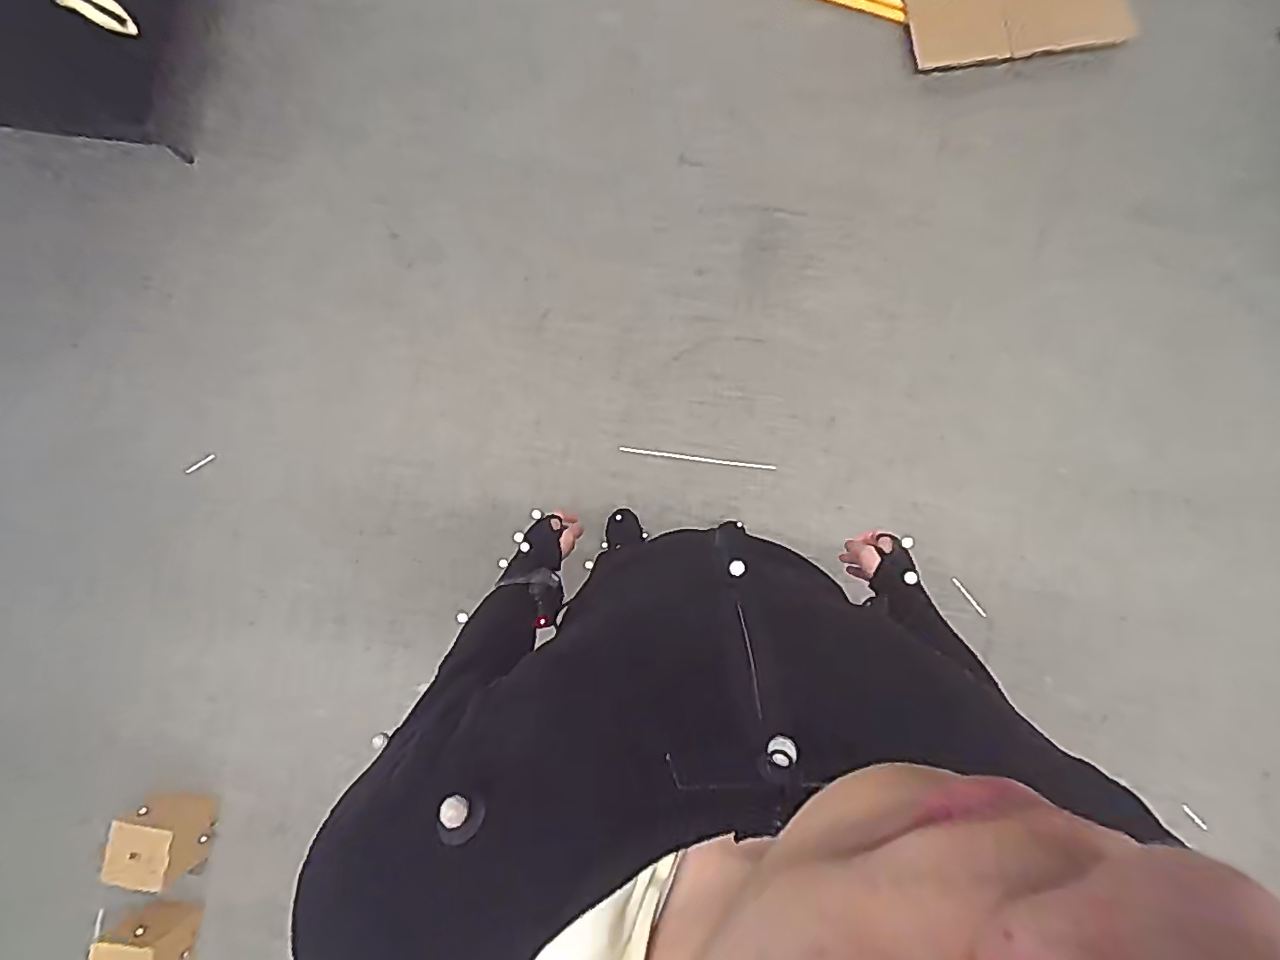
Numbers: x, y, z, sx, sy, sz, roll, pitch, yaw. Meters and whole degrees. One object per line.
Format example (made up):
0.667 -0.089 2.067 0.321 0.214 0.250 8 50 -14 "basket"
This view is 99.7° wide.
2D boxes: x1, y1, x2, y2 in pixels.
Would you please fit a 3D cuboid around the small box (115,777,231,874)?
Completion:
-1.354 0.997 1.576 0.179 0.176 0.168 9 87 2 "small box"

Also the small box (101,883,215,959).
-1.390 1.309 1.560 0.179 0.176 0.168 7 87 2 "small box"
